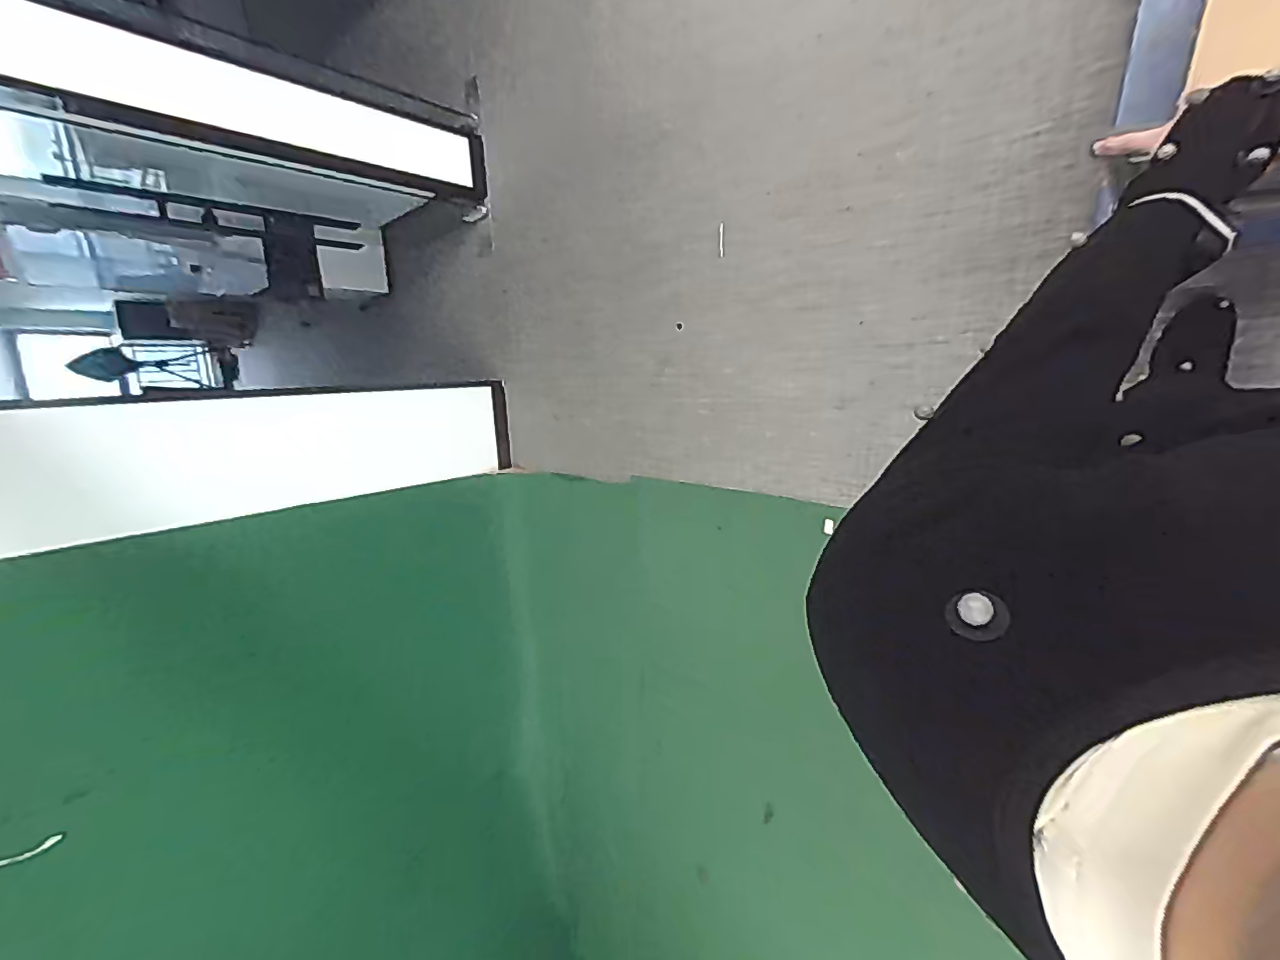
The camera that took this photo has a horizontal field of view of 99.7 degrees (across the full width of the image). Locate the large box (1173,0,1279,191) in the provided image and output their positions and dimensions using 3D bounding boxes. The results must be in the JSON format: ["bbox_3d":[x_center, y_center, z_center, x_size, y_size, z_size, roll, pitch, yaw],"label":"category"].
[{"bbox_3d":[0.997,-0.681,0.752,0.320,0.320,0.408,14,107,40],"label":"large box"}]
